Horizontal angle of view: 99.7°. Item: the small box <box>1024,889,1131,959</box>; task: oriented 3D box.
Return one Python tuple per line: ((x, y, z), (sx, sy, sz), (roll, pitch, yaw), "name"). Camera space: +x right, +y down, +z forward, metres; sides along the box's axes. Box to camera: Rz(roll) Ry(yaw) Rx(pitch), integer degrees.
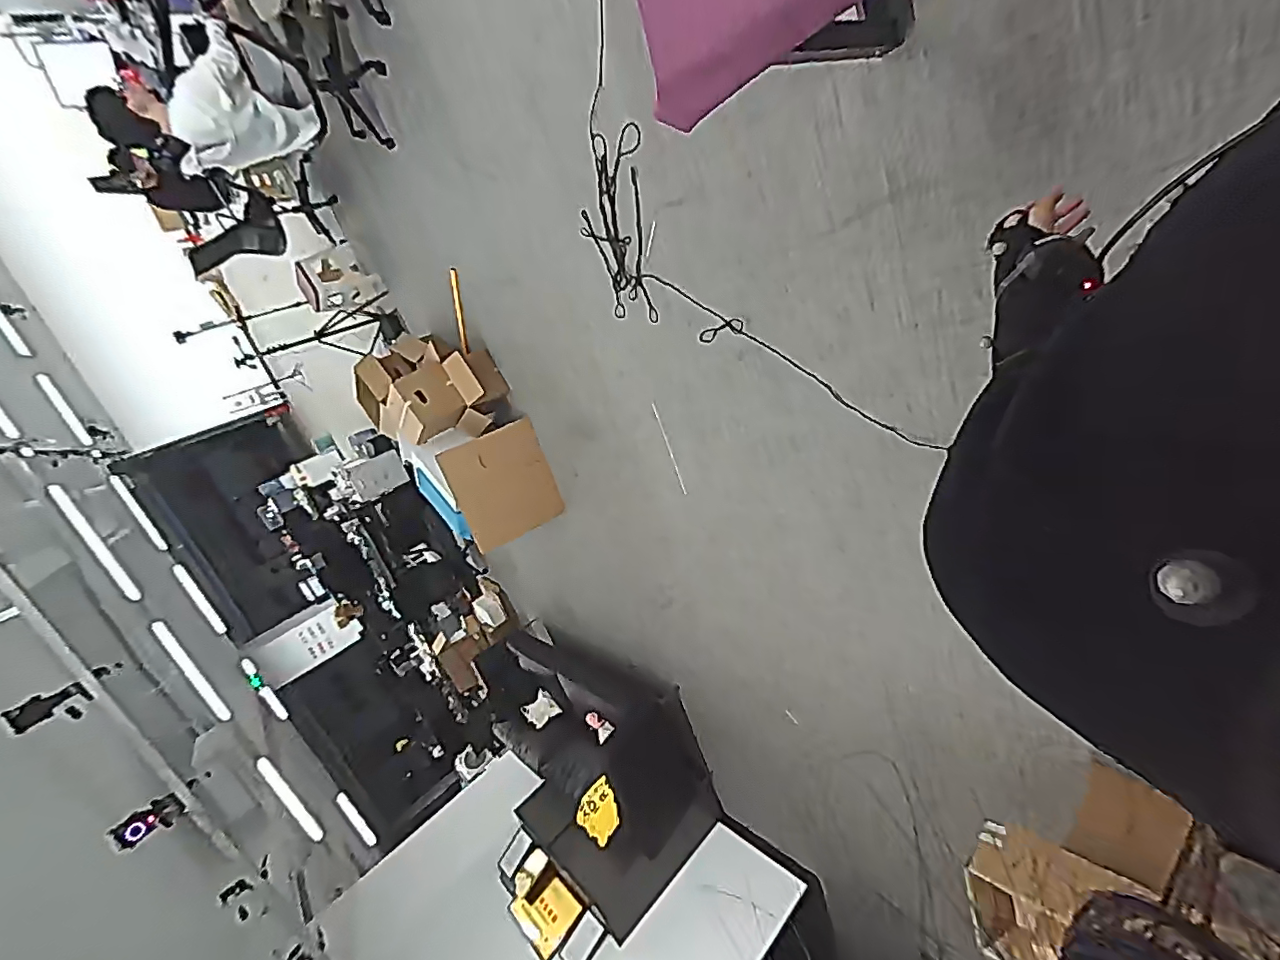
((1.132, 1.219, 1.394), (0.168, 0.176, 0.179), (-14, 105, 55), "small box")
